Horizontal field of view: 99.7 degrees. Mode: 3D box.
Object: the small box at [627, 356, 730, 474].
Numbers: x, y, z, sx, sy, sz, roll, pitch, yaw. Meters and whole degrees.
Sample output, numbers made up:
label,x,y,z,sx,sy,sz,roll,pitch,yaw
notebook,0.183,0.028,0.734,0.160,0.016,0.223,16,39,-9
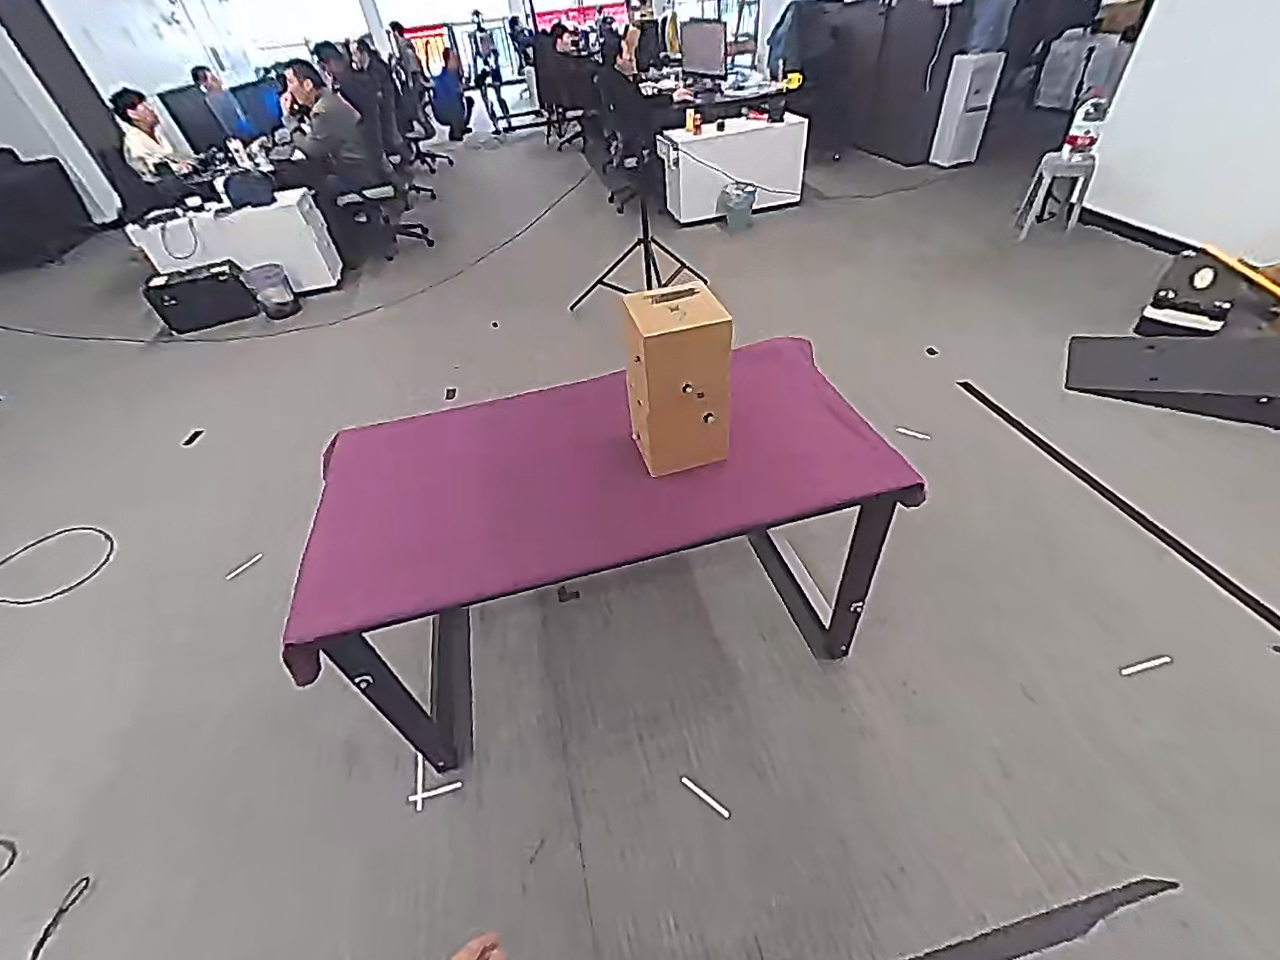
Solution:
label,x,y,z,sx,sy,sz,roll,pitch,yaw
small box,0.082,-0.138,1.157,0.179,0.176,0.168,-15,43,-7
